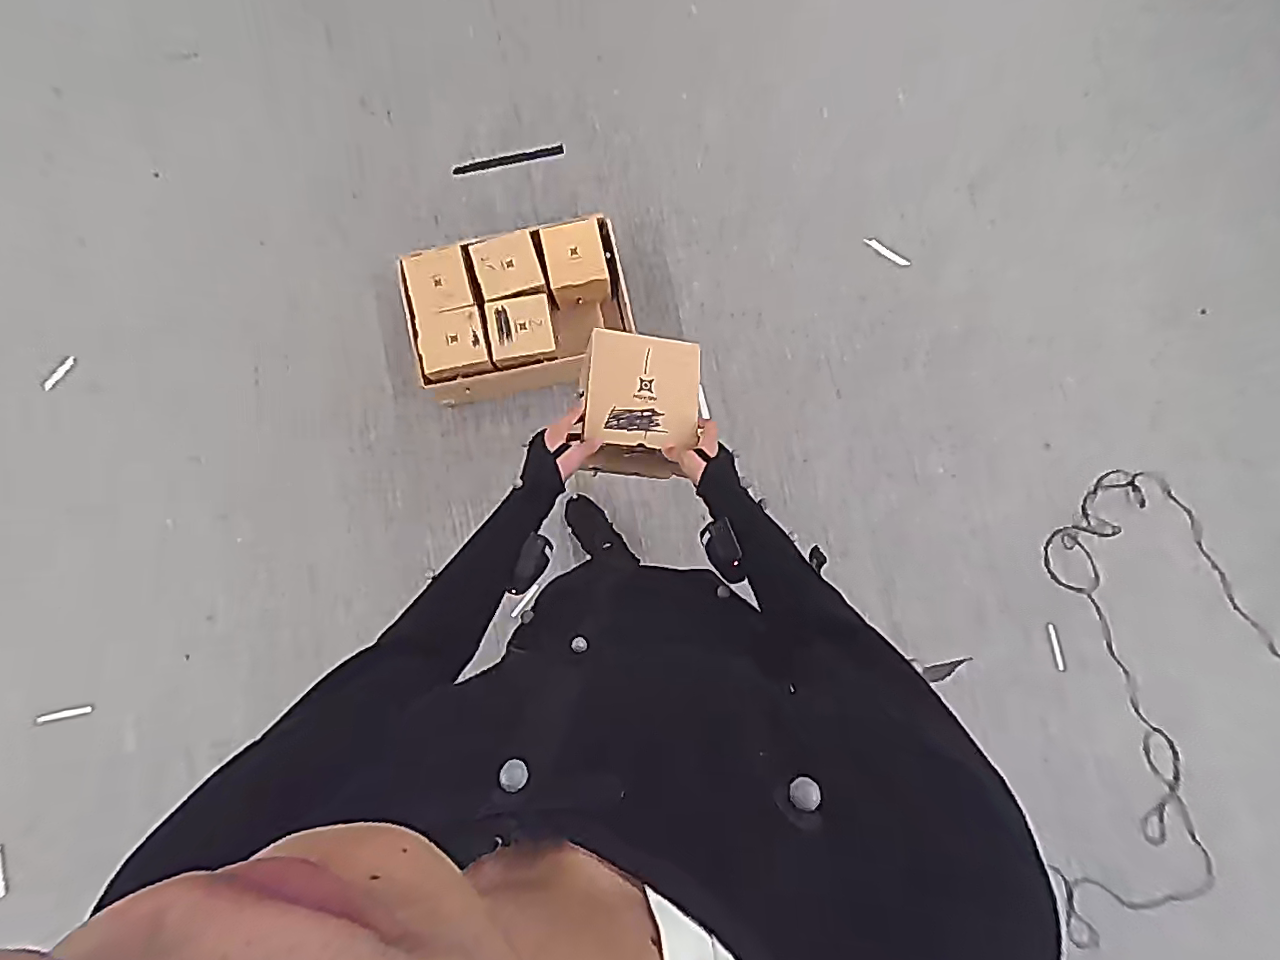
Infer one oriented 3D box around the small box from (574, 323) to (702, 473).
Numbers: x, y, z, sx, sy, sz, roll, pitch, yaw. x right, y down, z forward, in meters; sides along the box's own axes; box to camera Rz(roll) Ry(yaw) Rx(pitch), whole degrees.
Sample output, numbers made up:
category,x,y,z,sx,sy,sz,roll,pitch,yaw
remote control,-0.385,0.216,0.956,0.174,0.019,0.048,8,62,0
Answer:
category,x,y,z,sx,sy,sz,roll,pitch,yaw
small box,-0.010,-0.115,0.842,0.168,0.176,0.179,6,77,-11
